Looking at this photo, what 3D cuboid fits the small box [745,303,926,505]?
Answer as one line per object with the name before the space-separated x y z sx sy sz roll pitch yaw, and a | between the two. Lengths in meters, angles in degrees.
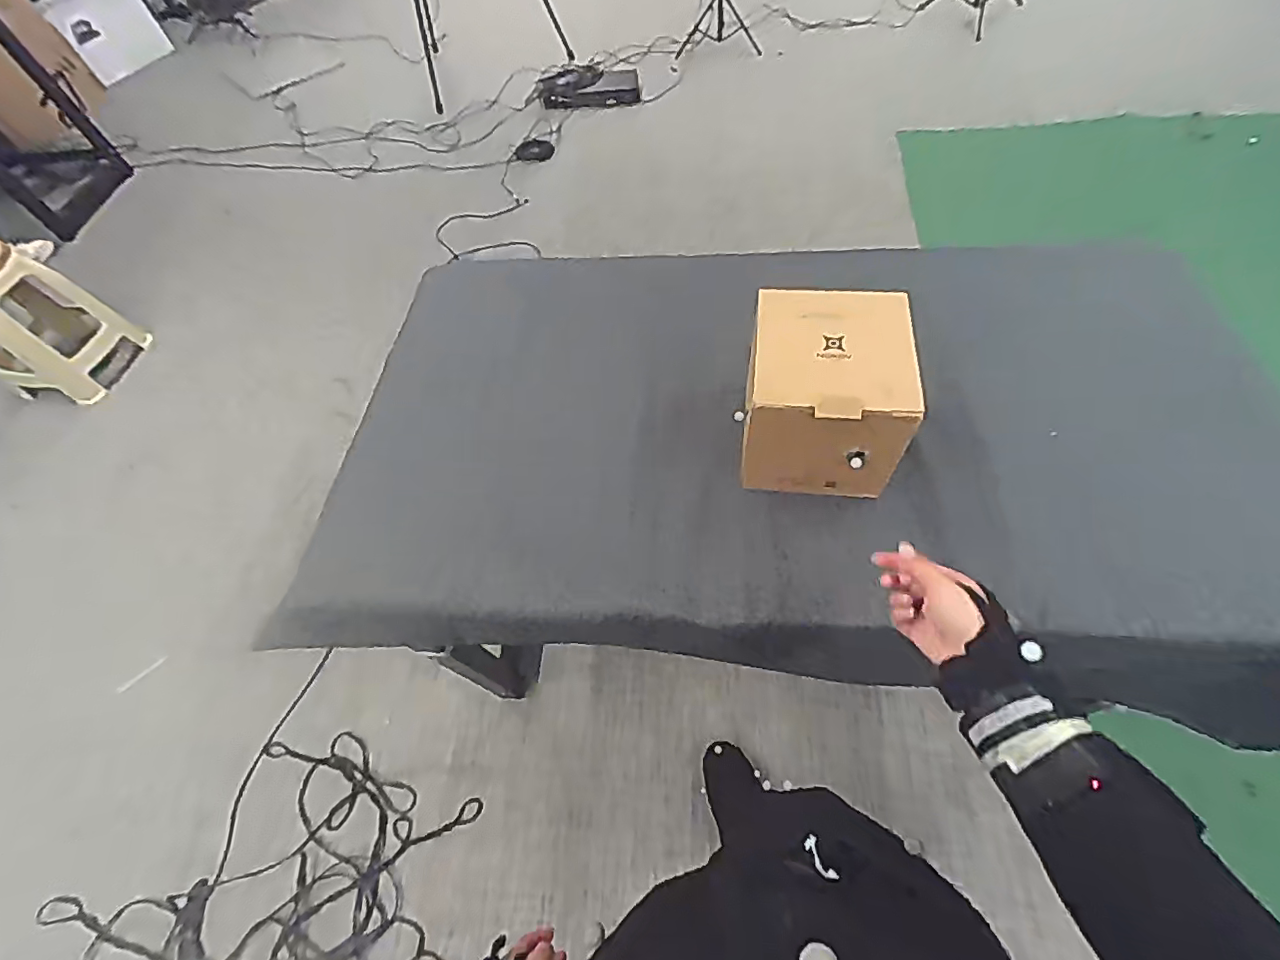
small box | 0.216 -0.086 0.642 0.168 0.176 0.179 4 57 8
